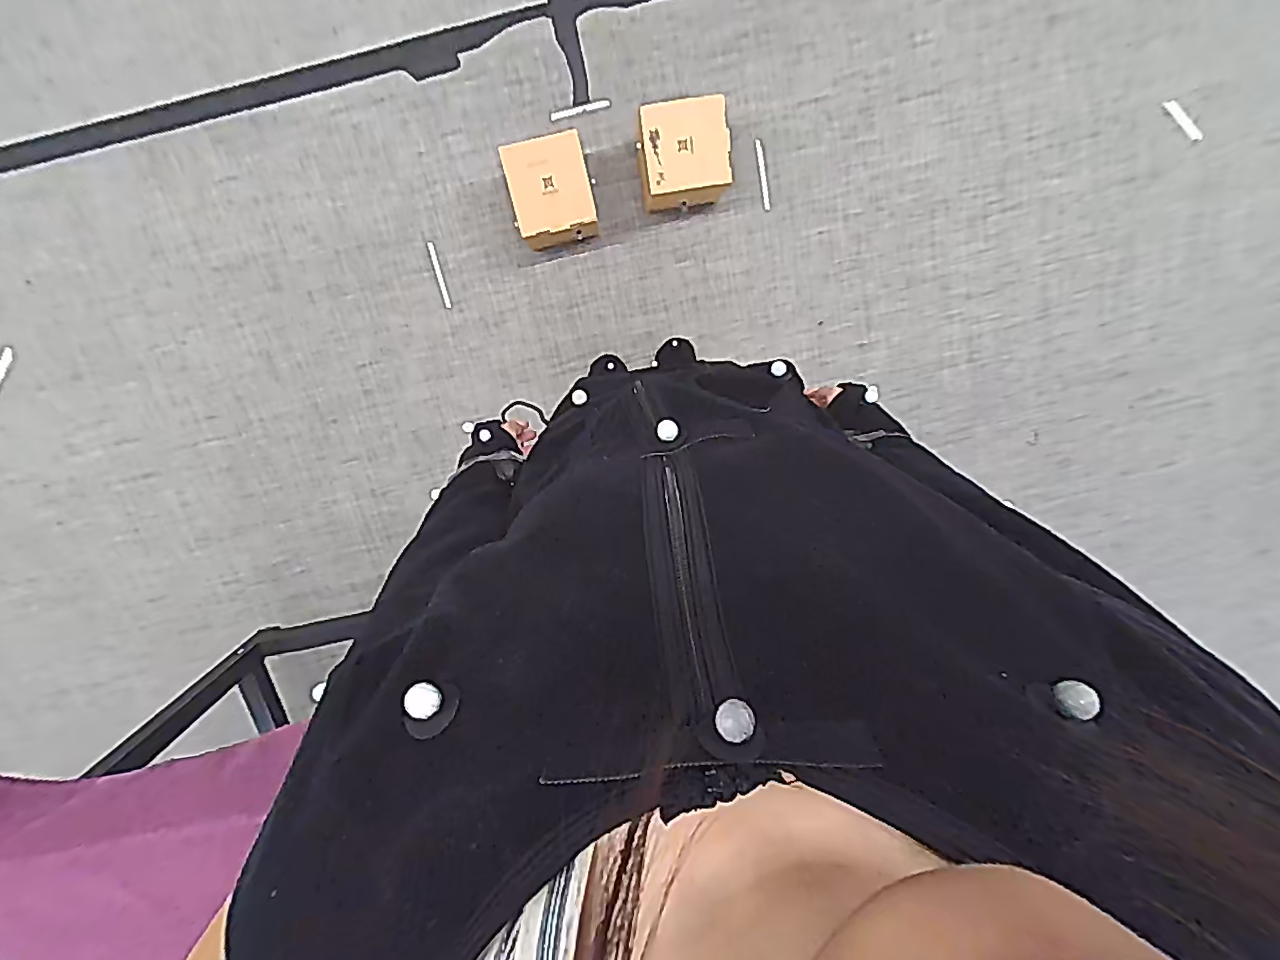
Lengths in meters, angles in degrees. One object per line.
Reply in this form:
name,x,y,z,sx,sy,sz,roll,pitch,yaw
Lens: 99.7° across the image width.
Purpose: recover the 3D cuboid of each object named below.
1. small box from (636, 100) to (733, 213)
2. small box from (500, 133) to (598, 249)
small box,0.093,-0.695,1.178,0.179,0.176,0.168,-9,106,-2
small box,-0.188,-0.618,1.182,0.168,0.176,0.179,-14,104,-1
